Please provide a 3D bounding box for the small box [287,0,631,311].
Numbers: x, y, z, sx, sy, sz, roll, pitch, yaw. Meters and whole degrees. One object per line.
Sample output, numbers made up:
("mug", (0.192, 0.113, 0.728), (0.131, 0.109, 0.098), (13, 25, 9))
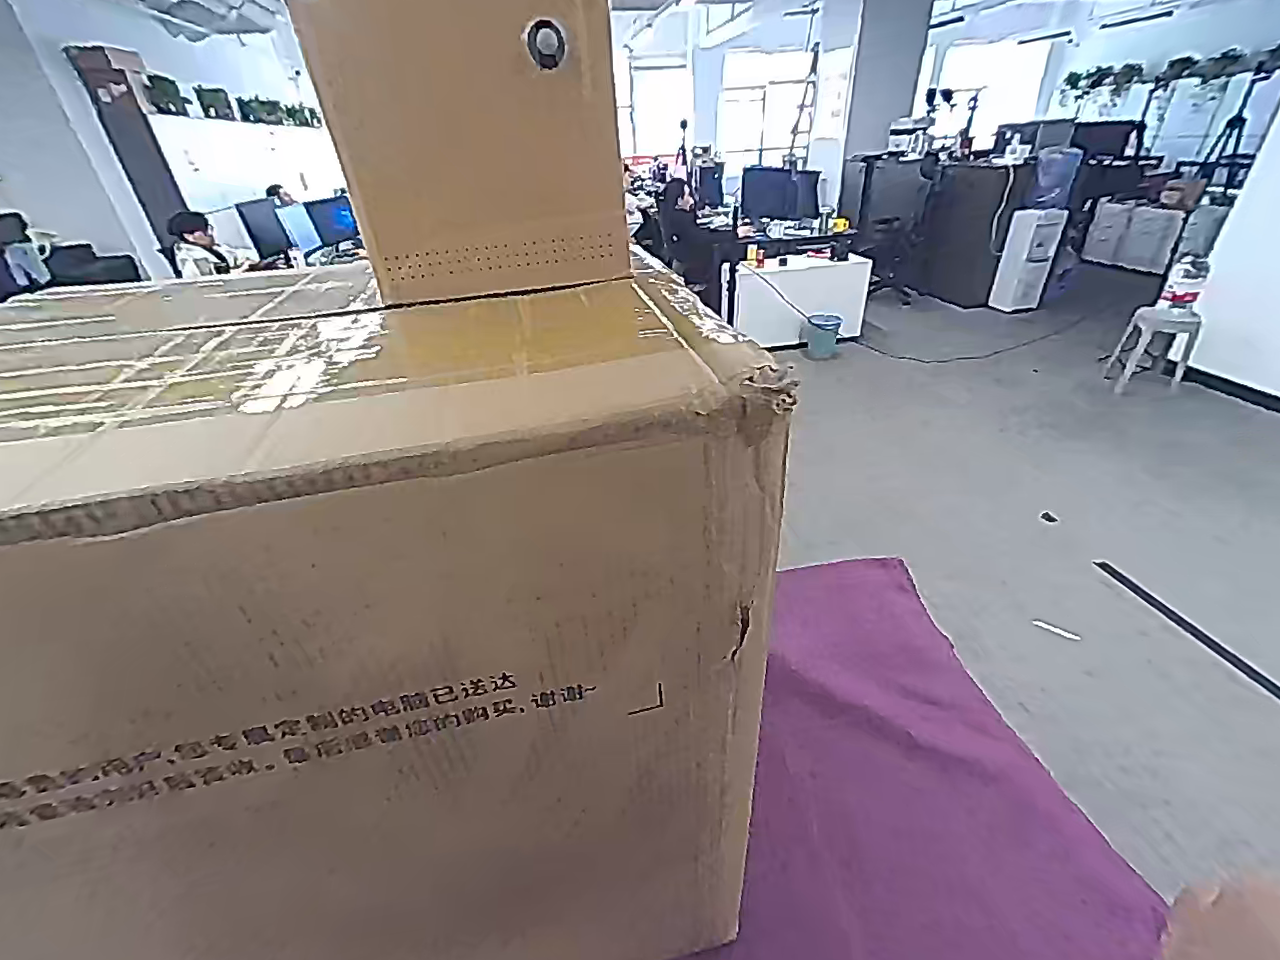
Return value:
("small box", (-0.111, -0.231, 0.401), (0.179, 0.176, 0.168), (-9, 32, -8))
